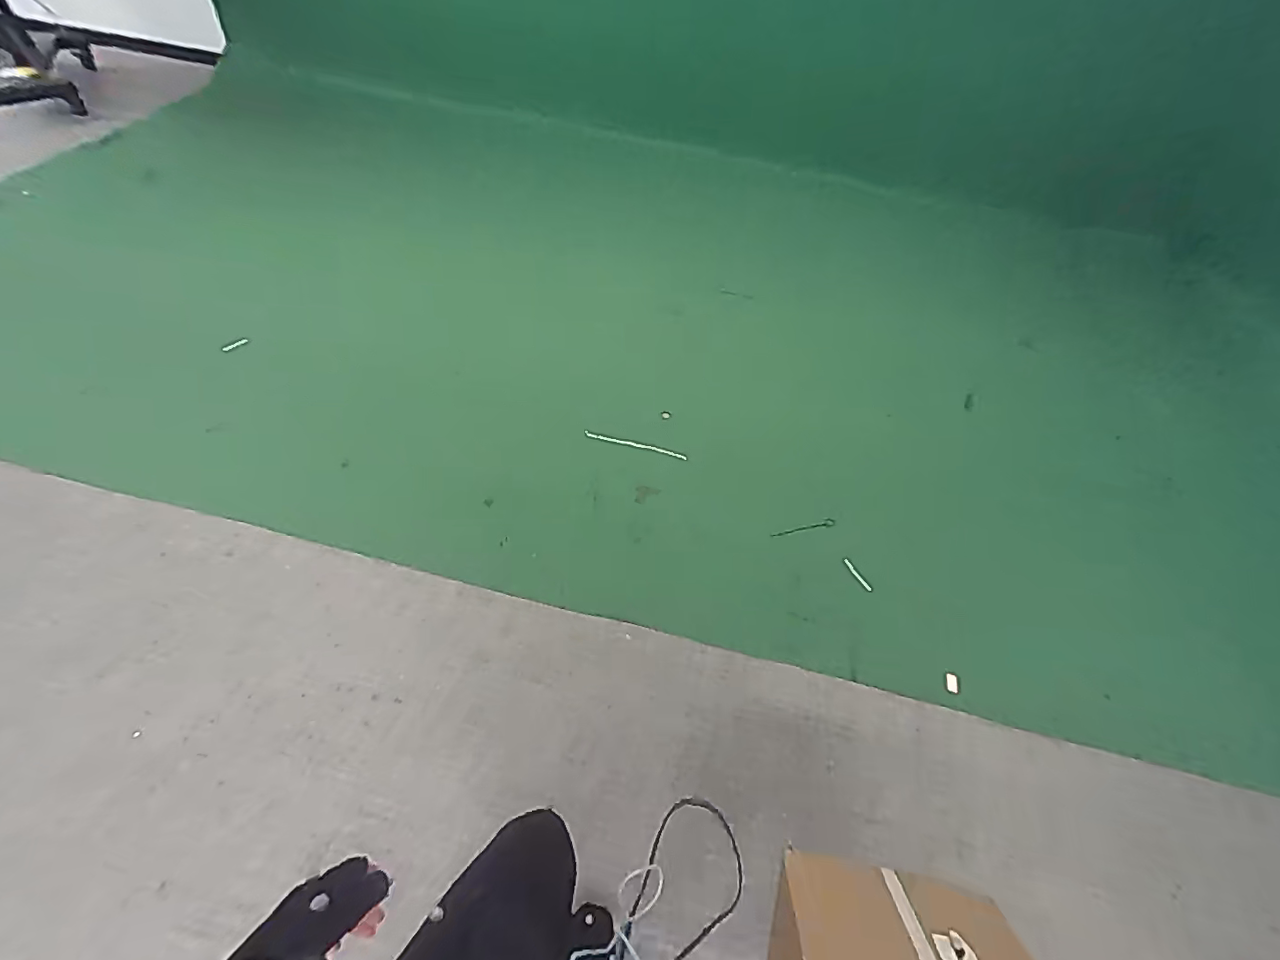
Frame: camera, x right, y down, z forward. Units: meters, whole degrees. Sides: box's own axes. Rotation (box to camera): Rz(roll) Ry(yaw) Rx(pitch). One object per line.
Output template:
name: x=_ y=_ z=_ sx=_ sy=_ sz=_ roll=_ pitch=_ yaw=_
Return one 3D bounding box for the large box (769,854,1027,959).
large box: x=0.333 y=0.764 z=0.647 sx=0.320 sy=0.408 sz=0.320 roll=9 pitch=93 yaw=7
